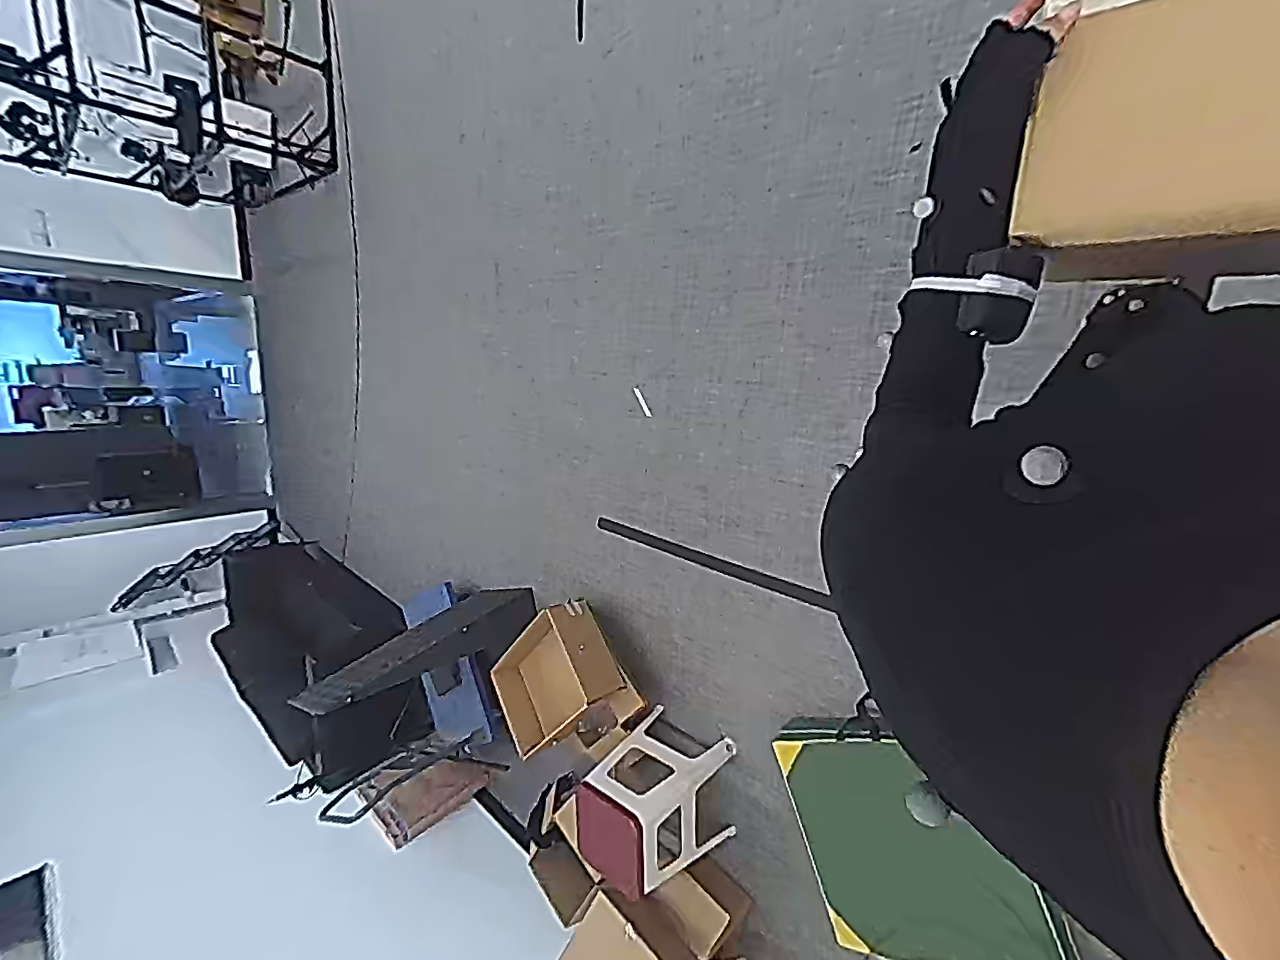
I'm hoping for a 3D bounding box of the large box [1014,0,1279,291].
[{"bbox_3d":[0.542,-0.324,0.389,0.408,0.320,0.320,11,108,38],"label":"large box"}]
